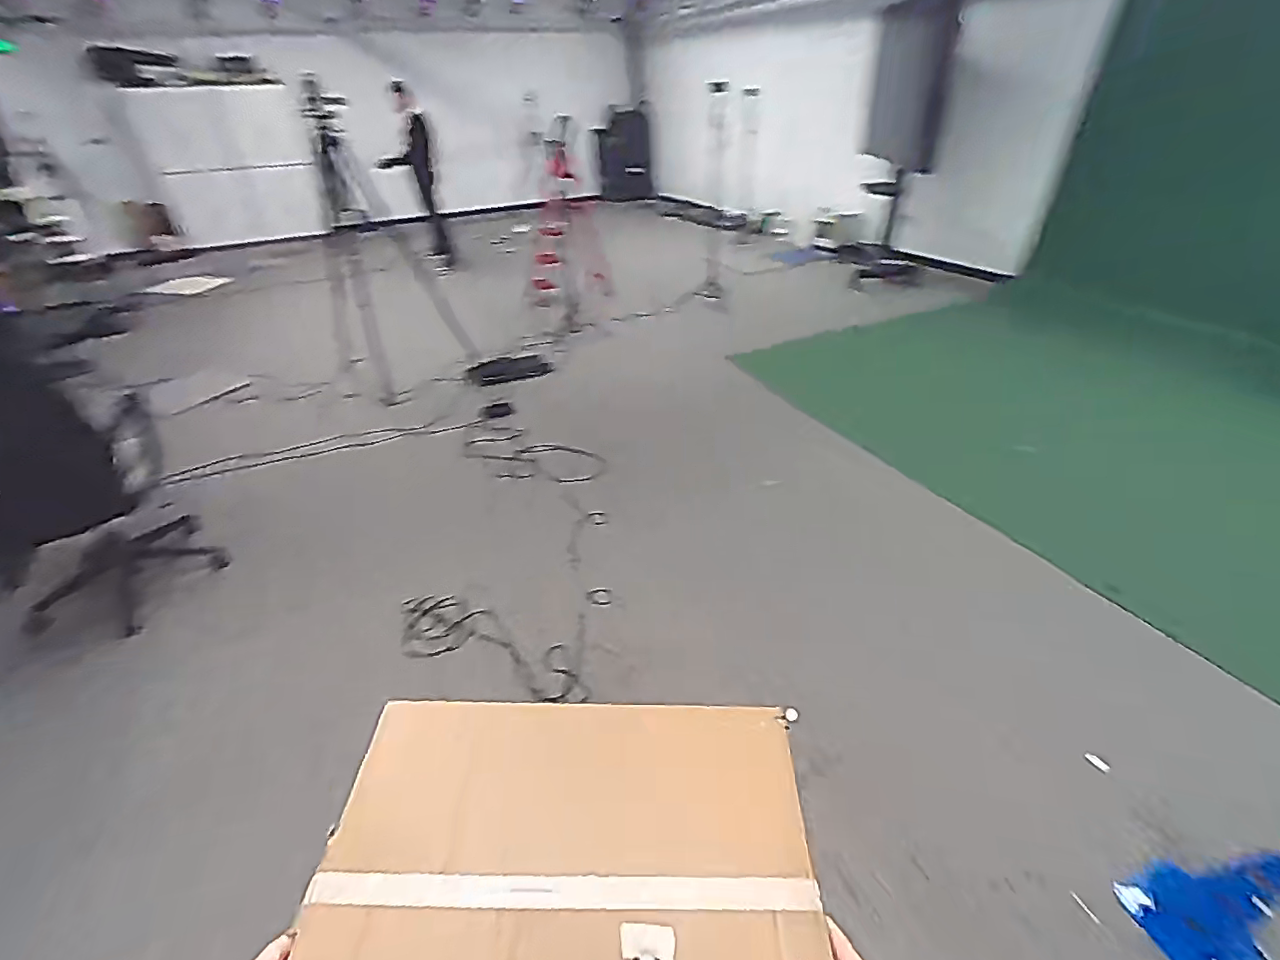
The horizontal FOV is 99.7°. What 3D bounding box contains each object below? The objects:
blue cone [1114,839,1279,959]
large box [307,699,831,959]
[{"bbox_3d":[1.199,0.841,1.113,0.192,0.380,0.193,-12,36,-14],"label":"blue cone"},{"bbox_3d":[-0.055,0.445,0.540,0.408,0.320,0.320,2,41,1],"label":"large box"}]
